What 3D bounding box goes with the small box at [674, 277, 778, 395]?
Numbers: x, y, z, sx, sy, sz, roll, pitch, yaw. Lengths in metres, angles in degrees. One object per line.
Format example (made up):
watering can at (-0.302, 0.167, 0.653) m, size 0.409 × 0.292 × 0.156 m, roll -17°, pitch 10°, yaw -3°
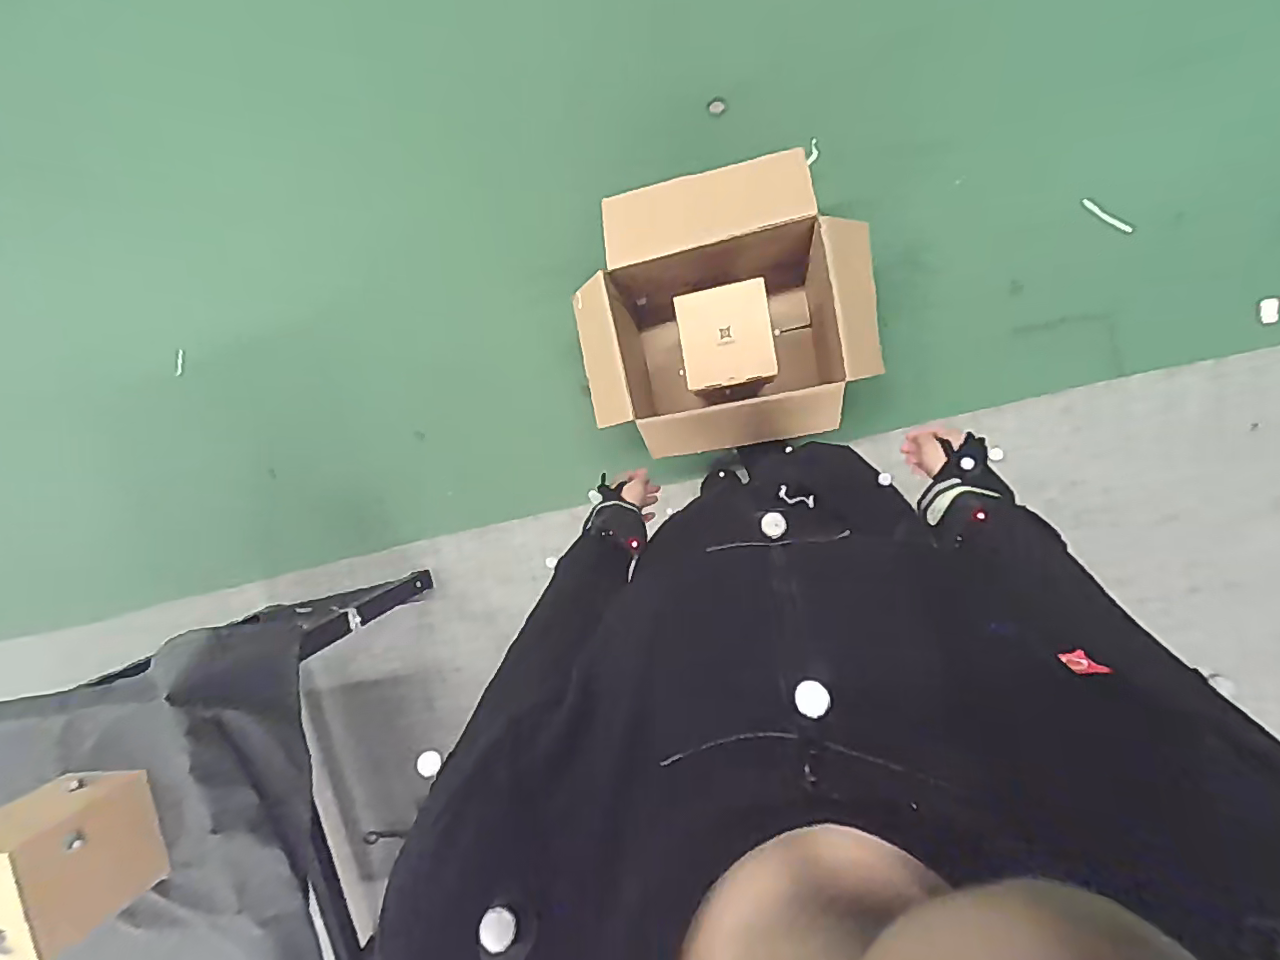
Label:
small box at (0.165, -0.268, 1.048) m, size 0.168 × 0.176 × 0.179 m, roll -10°, pitch 94°, yaw 11°
